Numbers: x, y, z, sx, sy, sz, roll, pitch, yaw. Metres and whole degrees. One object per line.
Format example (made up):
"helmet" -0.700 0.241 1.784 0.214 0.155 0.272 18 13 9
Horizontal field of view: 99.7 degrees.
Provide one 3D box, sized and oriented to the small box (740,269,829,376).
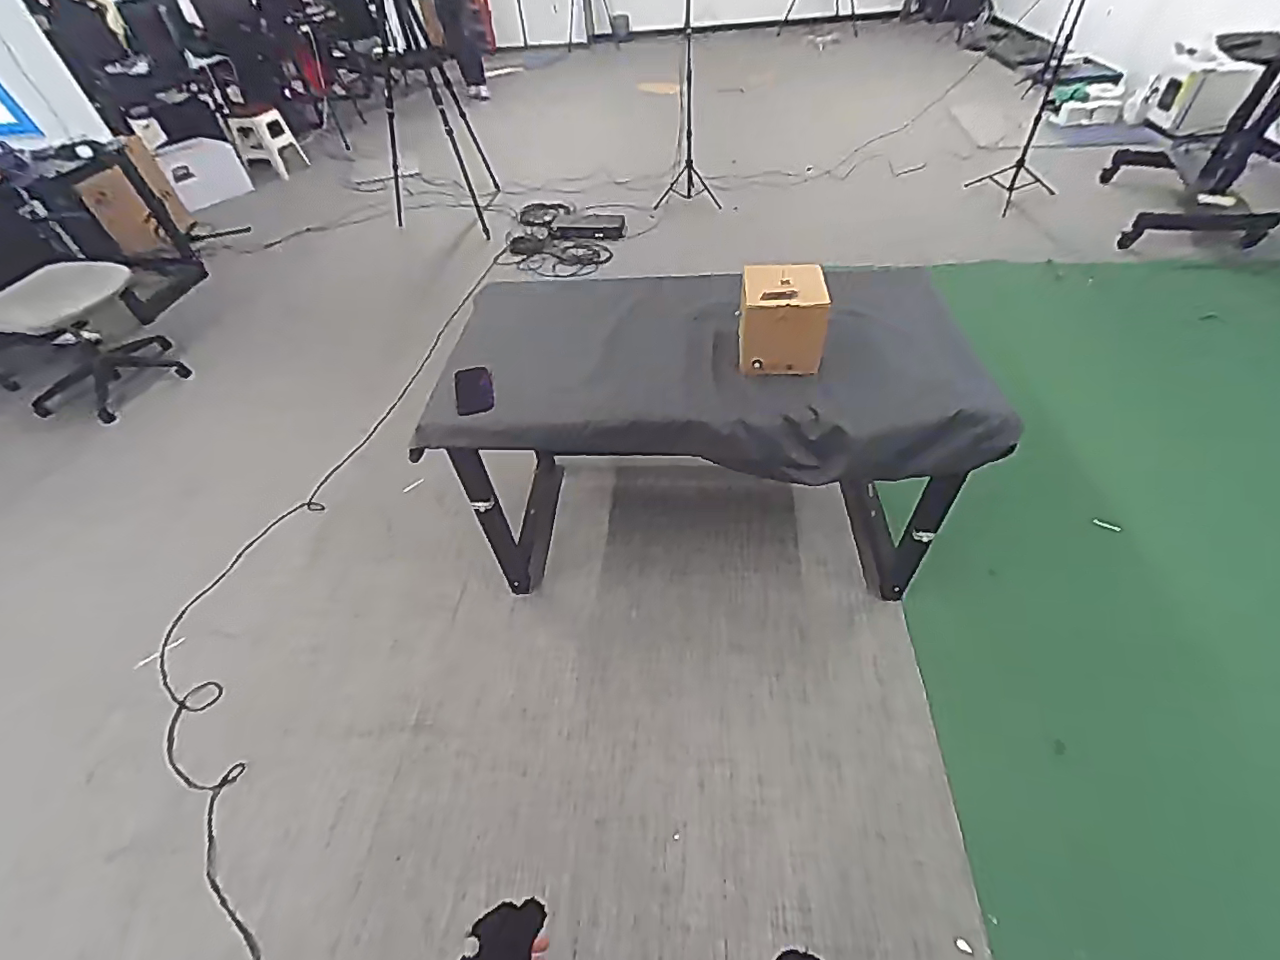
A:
"small box" 0.309 -0.344 1.190 0.168 0.176 0.179 2 46 6
